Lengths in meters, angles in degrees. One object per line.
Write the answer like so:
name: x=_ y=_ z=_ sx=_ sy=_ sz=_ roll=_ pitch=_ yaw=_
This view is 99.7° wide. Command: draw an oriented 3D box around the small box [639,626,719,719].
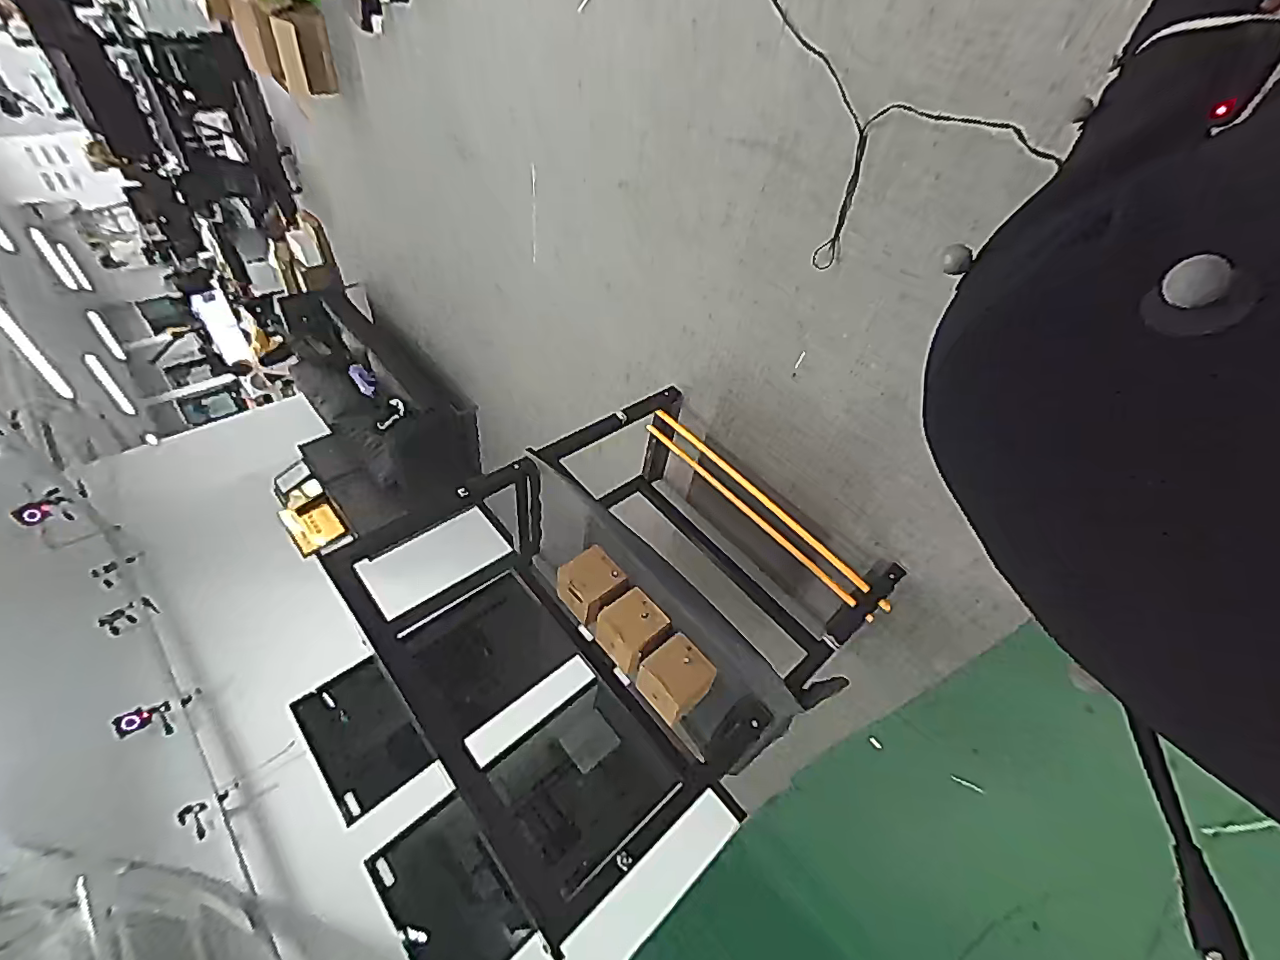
small box: x=0.119 y=0.586 z=1.654 sx=0.168 sy=0.176 sz=0.179 roll=42 pitch=145 yaw=27
